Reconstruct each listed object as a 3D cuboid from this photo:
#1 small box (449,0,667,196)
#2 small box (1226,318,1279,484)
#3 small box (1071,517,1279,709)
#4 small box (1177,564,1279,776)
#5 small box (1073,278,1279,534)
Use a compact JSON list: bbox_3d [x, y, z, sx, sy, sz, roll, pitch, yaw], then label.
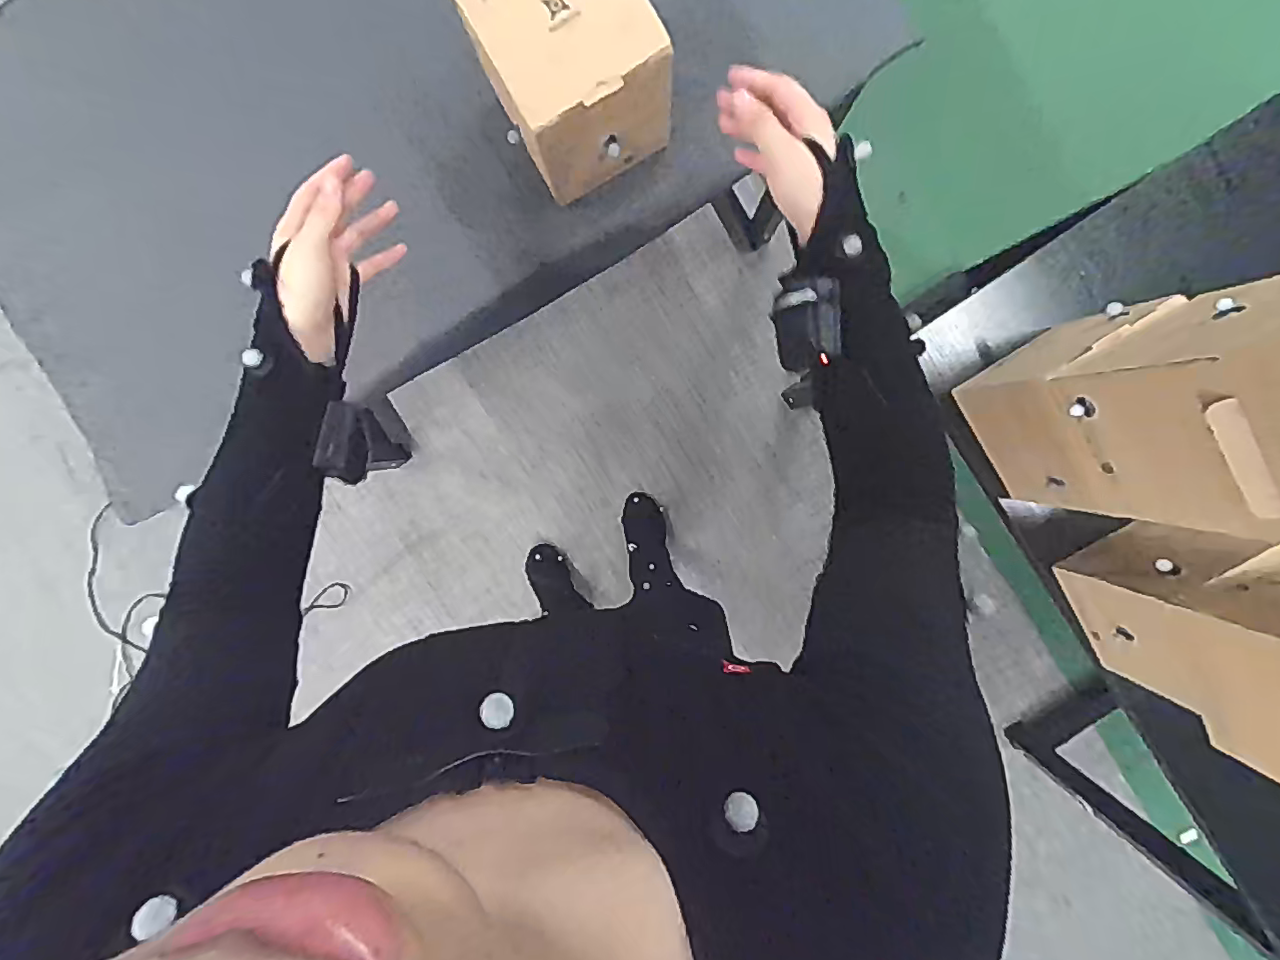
[{"bbox_3d":[-0.079,-0.458,0.614,0.168,0.176,0.179,-30,92,4],"label":"small box"},{"bbox_3d":[0.523,-0.048,0.309,0.168,0.176,0.179,-30,94,1],"label":"small box"},{"bbox_3d":[0.674,0.152,0.650,0.179,0.176,0.168,-29,94,3],"label":"small box"},{"bbox_3d":[0.662,0.187,0.490,0.168,0.176,0.179,-22,94,3],"label":"small box"},{"bbox_3d":[0.533,-0.066,0.470,0.179,0.176,0.168,-30,94,2],"label":"small box"}]
